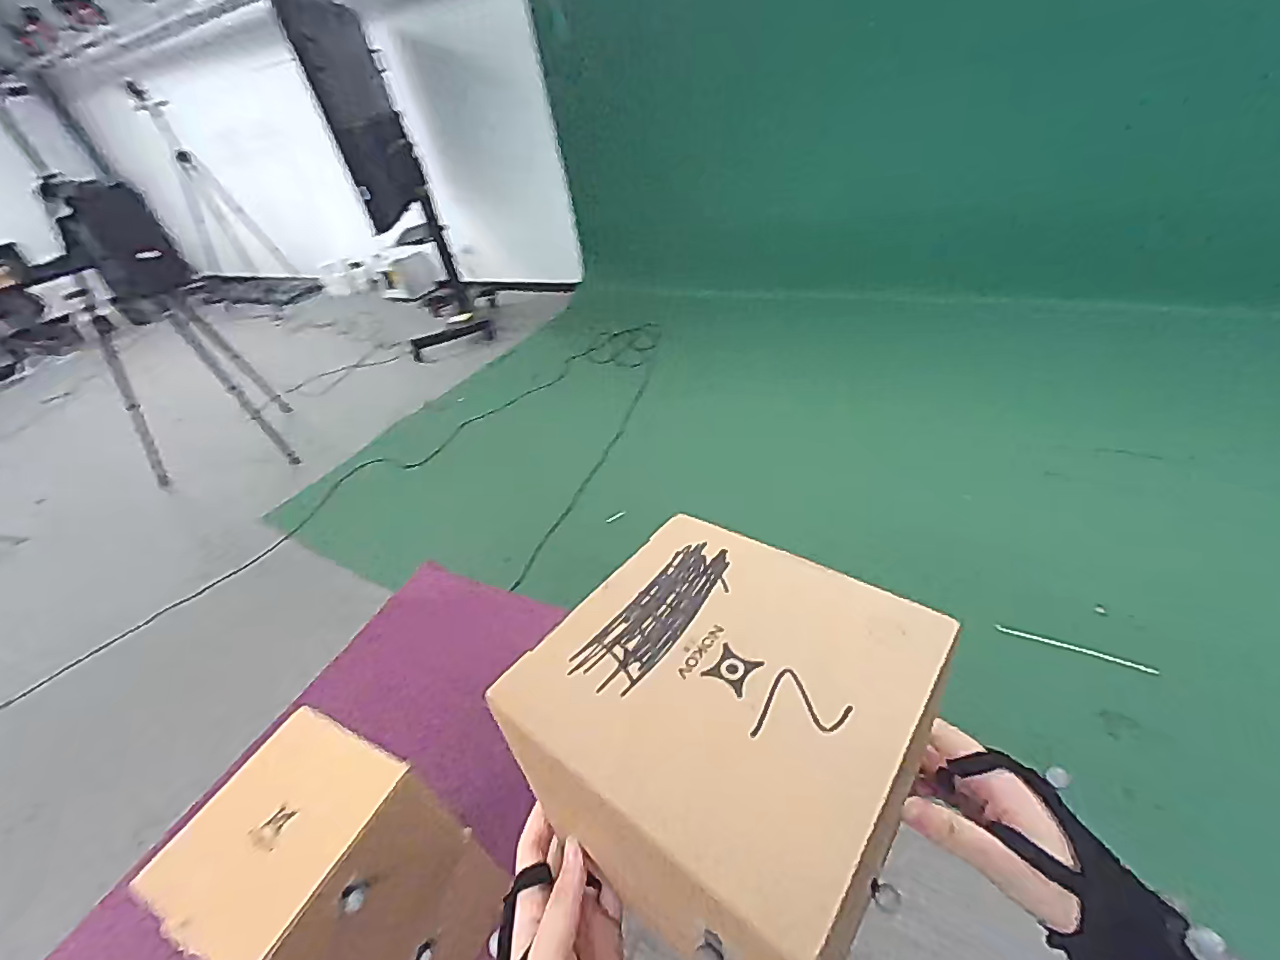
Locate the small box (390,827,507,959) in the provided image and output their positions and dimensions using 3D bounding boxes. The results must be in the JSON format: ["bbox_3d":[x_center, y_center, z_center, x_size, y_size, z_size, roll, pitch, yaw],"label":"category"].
[{"bbox_3d":[-0.283,0.497,0.629,0.168,0.176,0.179,11,43,27],"label":"small box"}]

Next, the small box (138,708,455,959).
[{"bbox_3d":[-0.309,0.369,0.532,0.168,0.176,0.179,11,44,26],"label":"small box"}]
